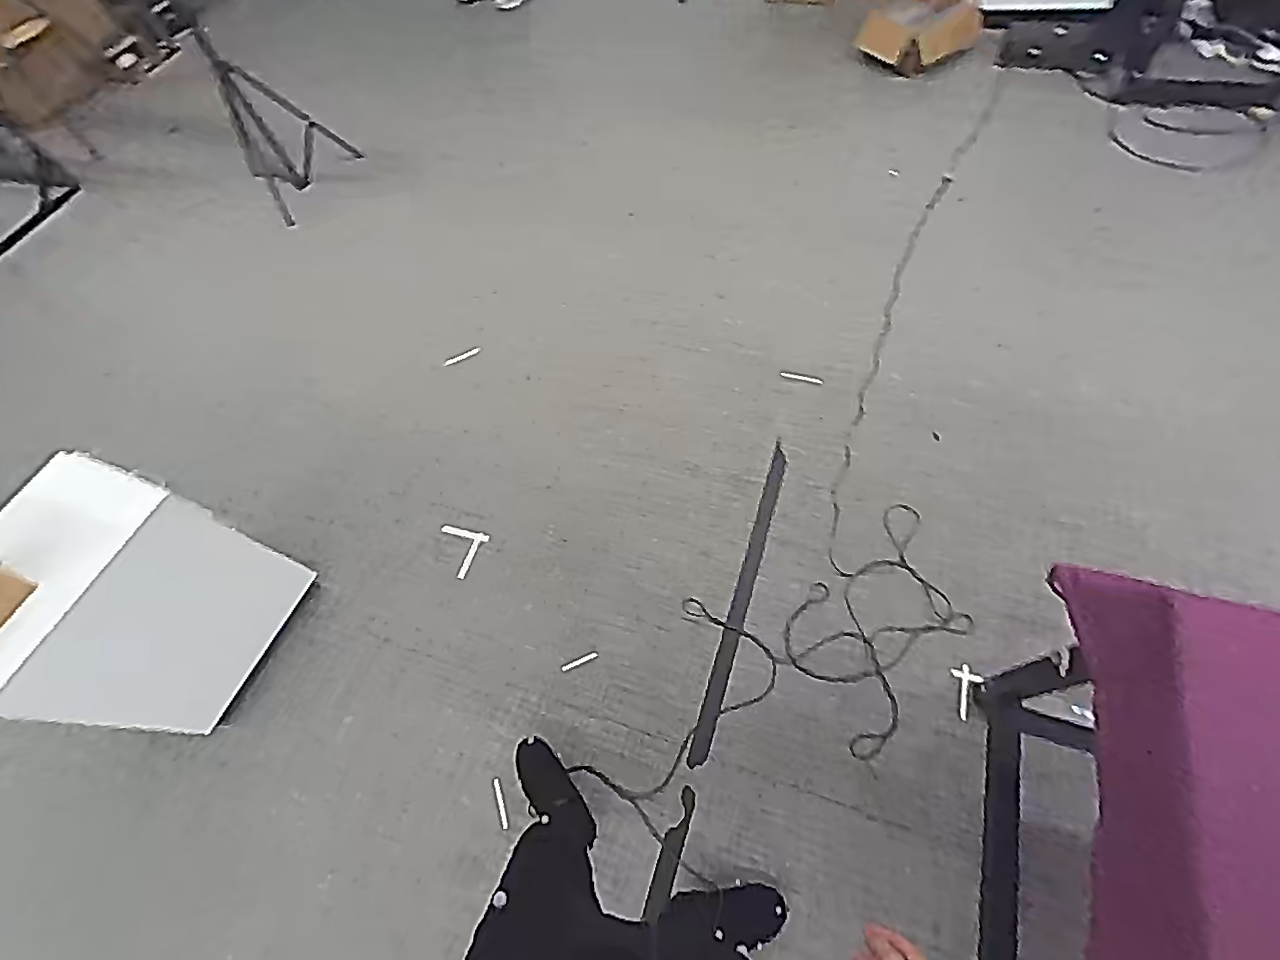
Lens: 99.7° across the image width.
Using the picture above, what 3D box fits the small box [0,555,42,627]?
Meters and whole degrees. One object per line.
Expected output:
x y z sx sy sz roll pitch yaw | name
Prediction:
-1.417 0.230 1.105 0.168 0.176 0.179 18 64 17 | small box
